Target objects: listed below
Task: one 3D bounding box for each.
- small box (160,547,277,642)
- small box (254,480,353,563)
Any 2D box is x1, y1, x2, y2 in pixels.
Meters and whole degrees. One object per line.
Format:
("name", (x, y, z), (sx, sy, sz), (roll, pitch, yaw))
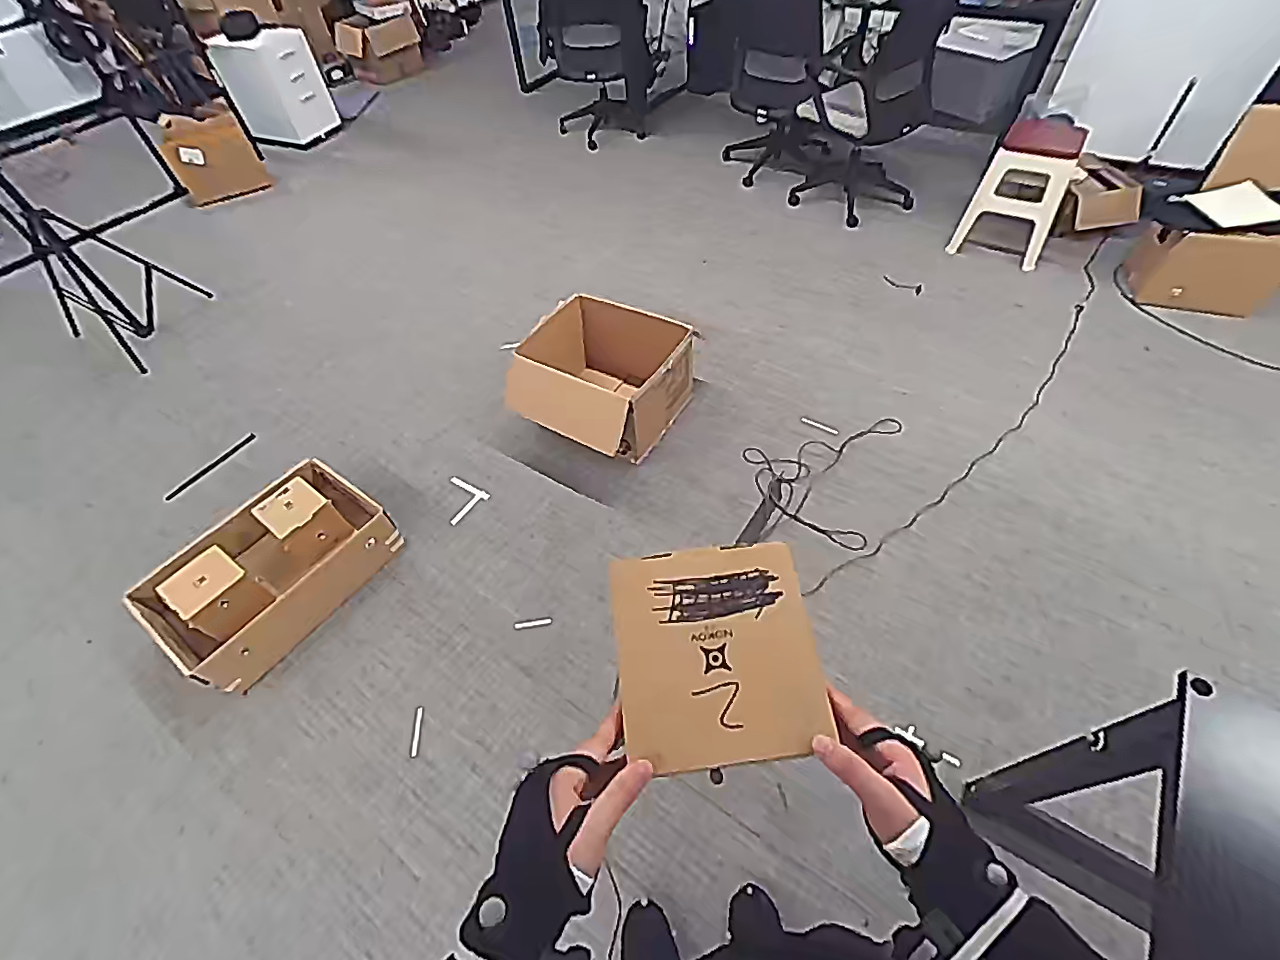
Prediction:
("small box", (-1.208, 0.336, 1.563), (0.168, 0.176, 0.179), (28, 58, 21))
("small box", (-1.052, 0.137, 1.705), (0.179, 0.176, 0.168), (31, 61, 23))
